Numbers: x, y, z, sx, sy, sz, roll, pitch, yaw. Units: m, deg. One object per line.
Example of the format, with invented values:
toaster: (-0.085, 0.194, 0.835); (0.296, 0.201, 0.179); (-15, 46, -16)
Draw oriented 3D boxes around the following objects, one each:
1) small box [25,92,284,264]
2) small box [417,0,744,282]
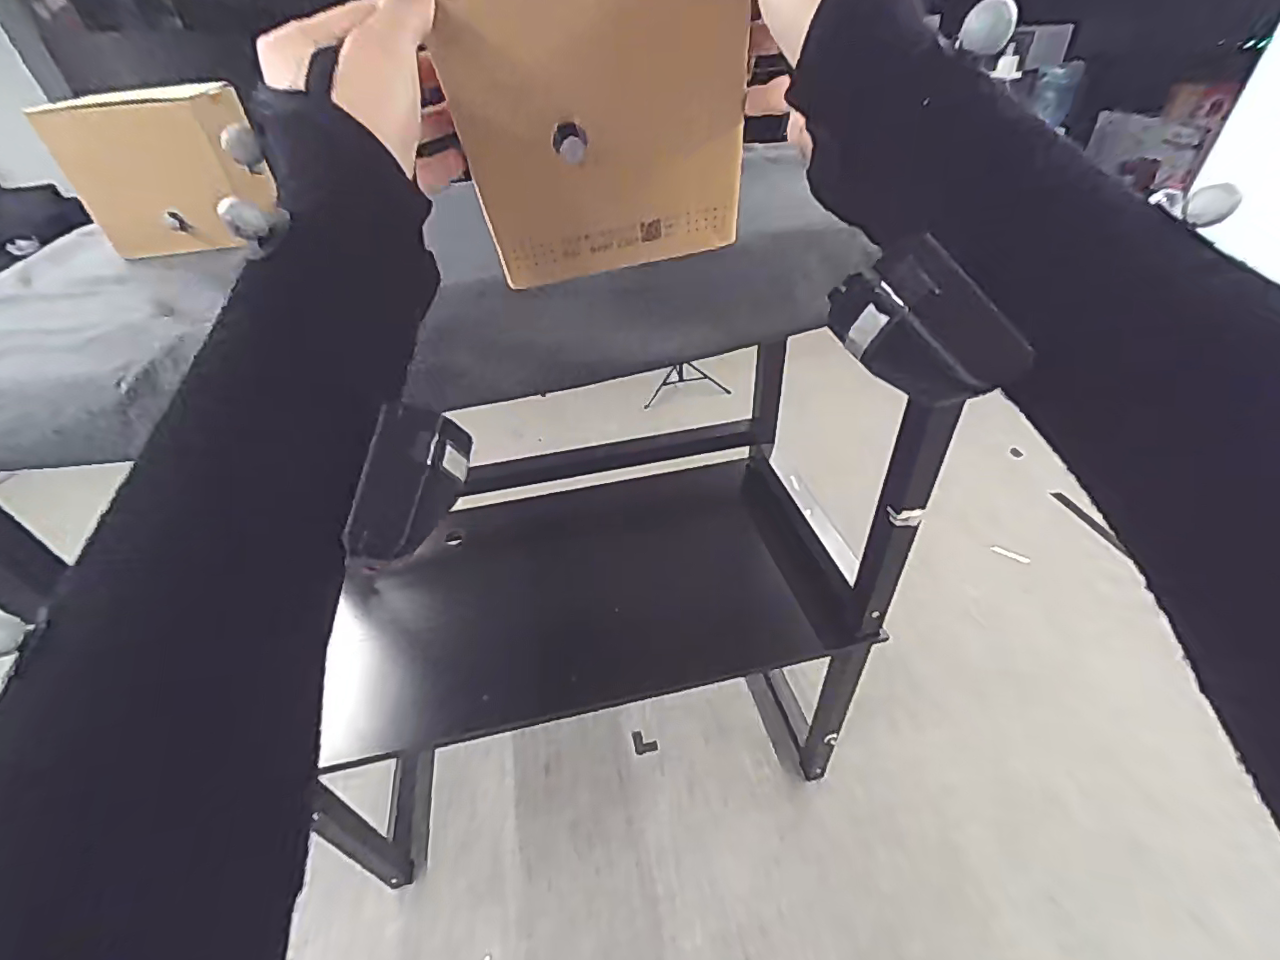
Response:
small box: (-0.622, -0.408, 0.730); (0.179, 0.176, 0.168); (-11, 41, -9)
small box: (-0.032, -0.256, 0.364); (0.168, 0.176, 0.179); (-13, 58, -2)
